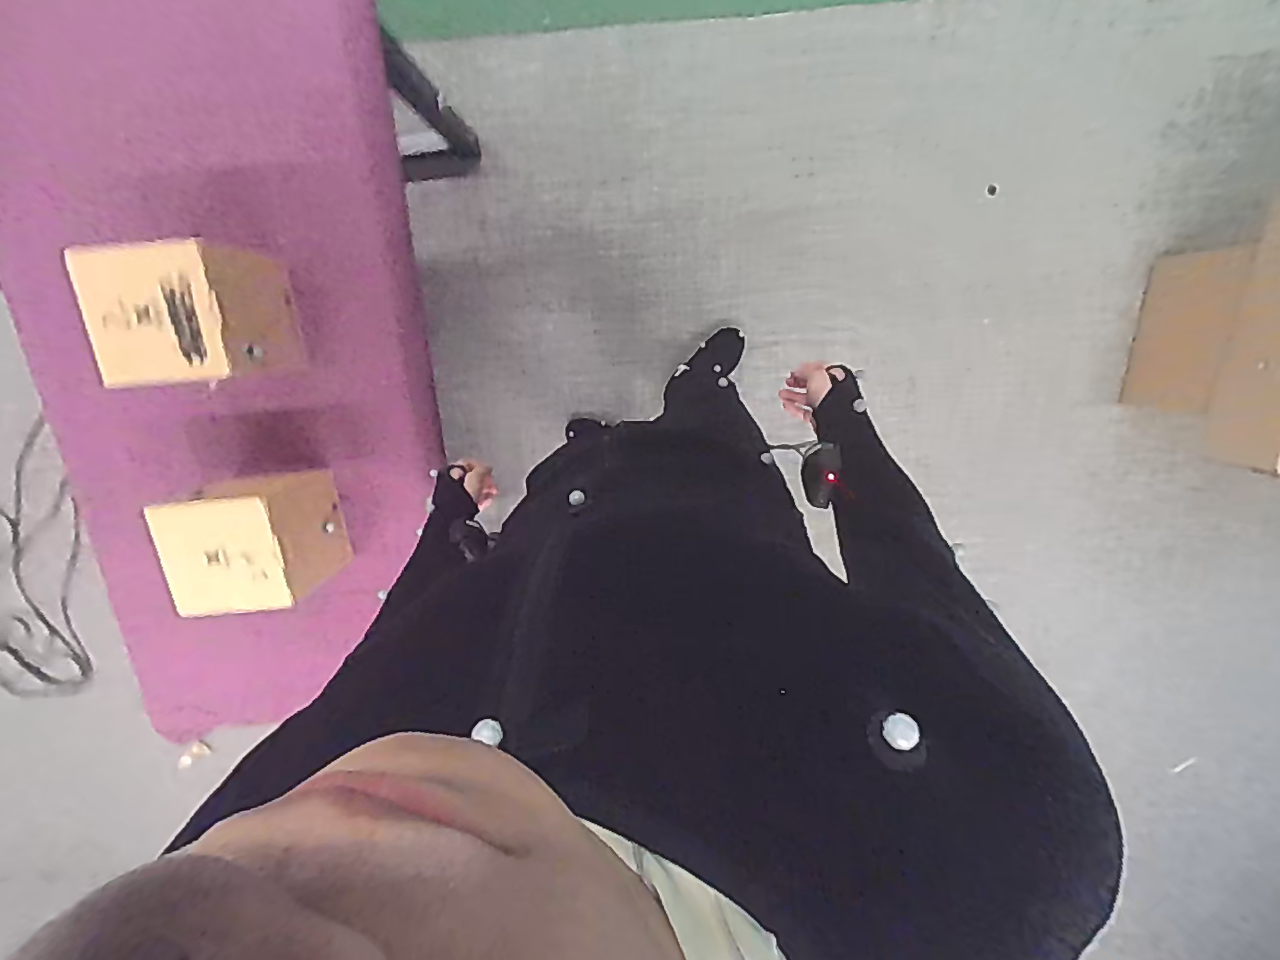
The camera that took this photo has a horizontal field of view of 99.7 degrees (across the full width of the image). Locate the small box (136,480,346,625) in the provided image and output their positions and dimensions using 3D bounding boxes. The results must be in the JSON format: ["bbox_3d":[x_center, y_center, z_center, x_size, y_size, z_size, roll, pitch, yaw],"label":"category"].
[{"bbox_3d":[-0.592,0.103,0.828,0.179,0.176,0.168,-5,104,2],"label":"small box"}]
